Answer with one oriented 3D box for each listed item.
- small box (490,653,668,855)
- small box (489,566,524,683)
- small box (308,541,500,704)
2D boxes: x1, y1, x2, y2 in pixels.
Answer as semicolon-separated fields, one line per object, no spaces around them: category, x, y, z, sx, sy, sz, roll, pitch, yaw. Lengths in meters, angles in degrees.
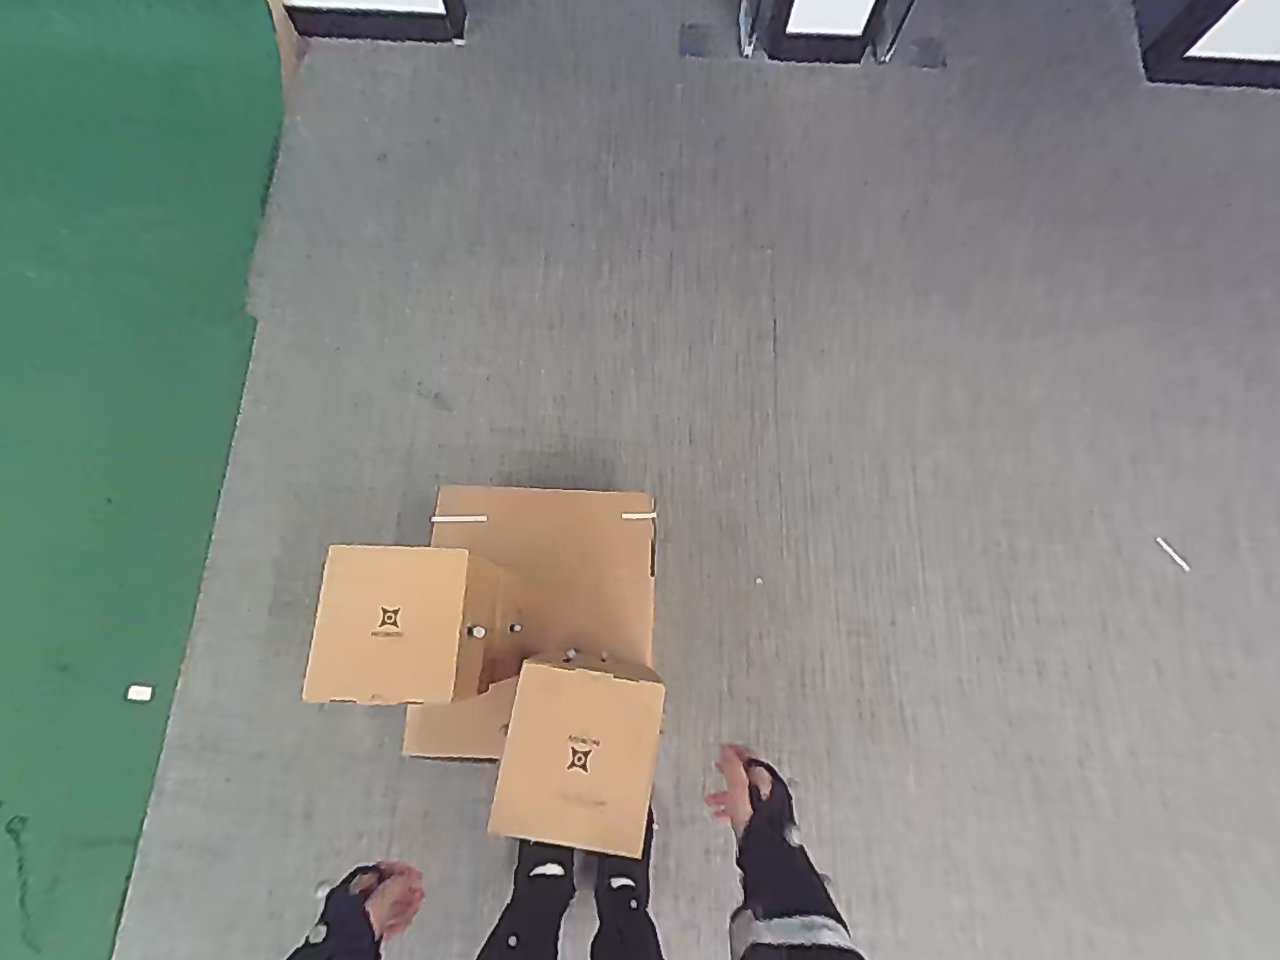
small box;-0.067;0.316;0.664;0.168;0.176;0.179;10;75;1
small box;-0.284;0.225;0.853;0.179;0.176;0.168;1;74;-1
small box;-0.283;0.182;0.695;0.168;0.176;0.179;3;75;-1
